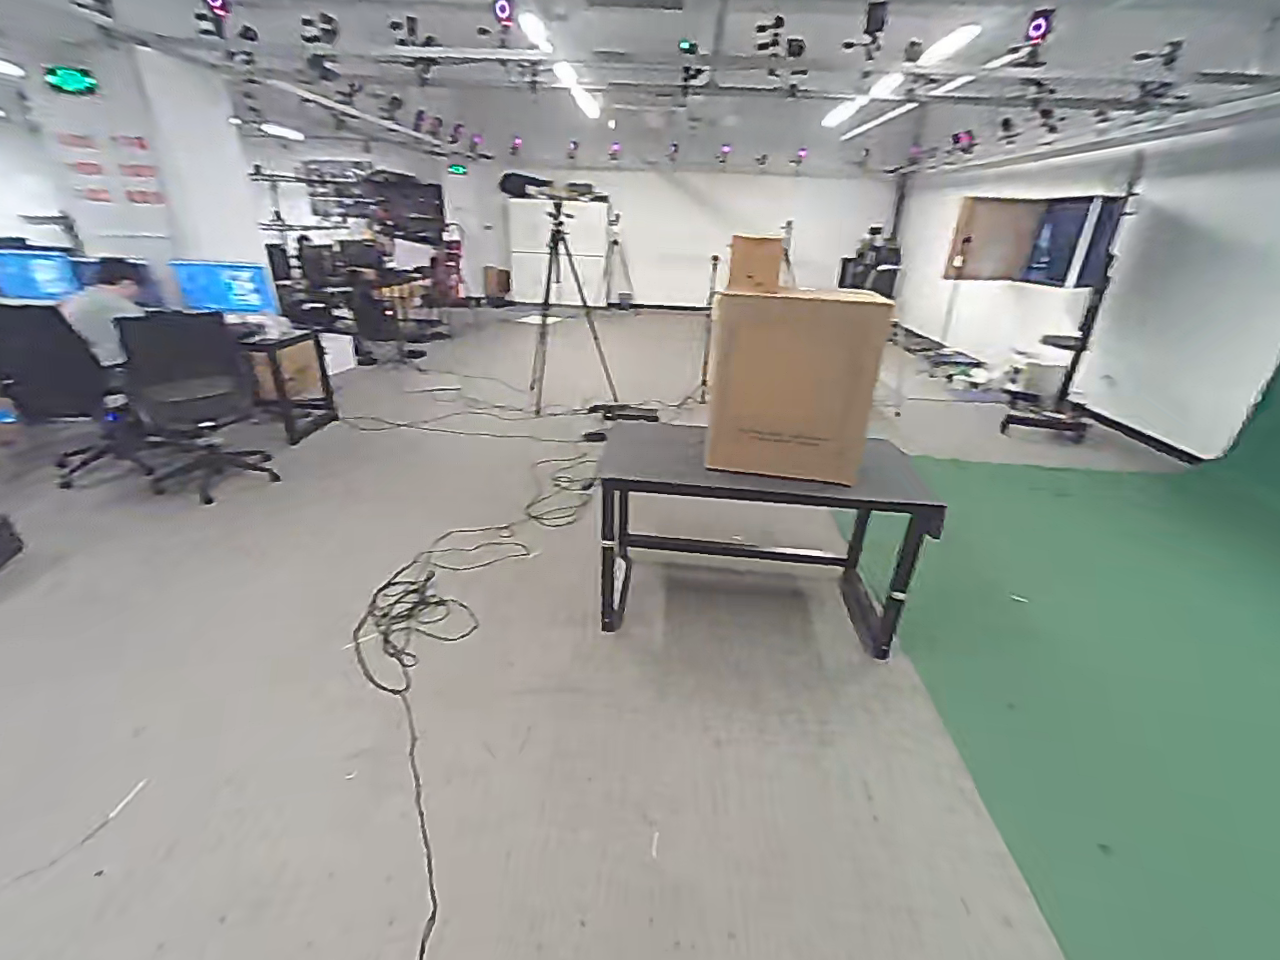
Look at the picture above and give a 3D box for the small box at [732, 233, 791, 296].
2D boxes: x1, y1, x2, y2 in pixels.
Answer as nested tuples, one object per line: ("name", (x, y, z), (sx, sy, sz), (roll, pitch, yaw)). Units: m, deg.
("small box", (0.401, -0.712, 1.780), (0.168, 0.176, 0.179), (8, 29, 12))
